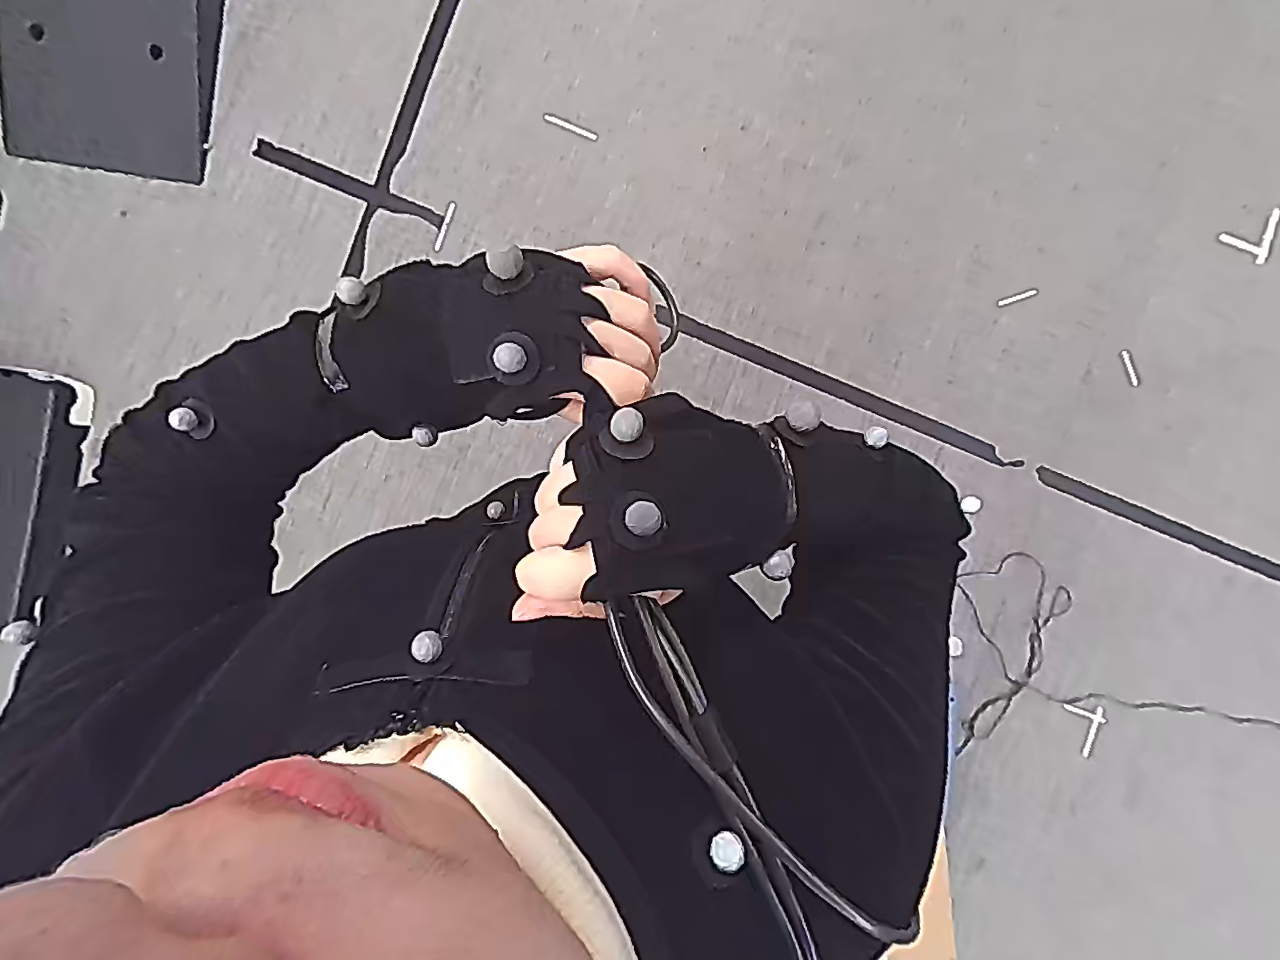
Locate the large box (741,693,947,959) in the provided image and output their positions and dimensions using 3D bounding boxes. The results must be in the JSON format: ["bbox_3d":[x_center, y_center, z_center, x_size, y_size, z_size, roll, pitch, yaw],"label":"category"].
[{"bbox_3d":[0.432,0.752,1.213,0.320,0.320,0.408,-6,93,-2],"label":"large box"}]
